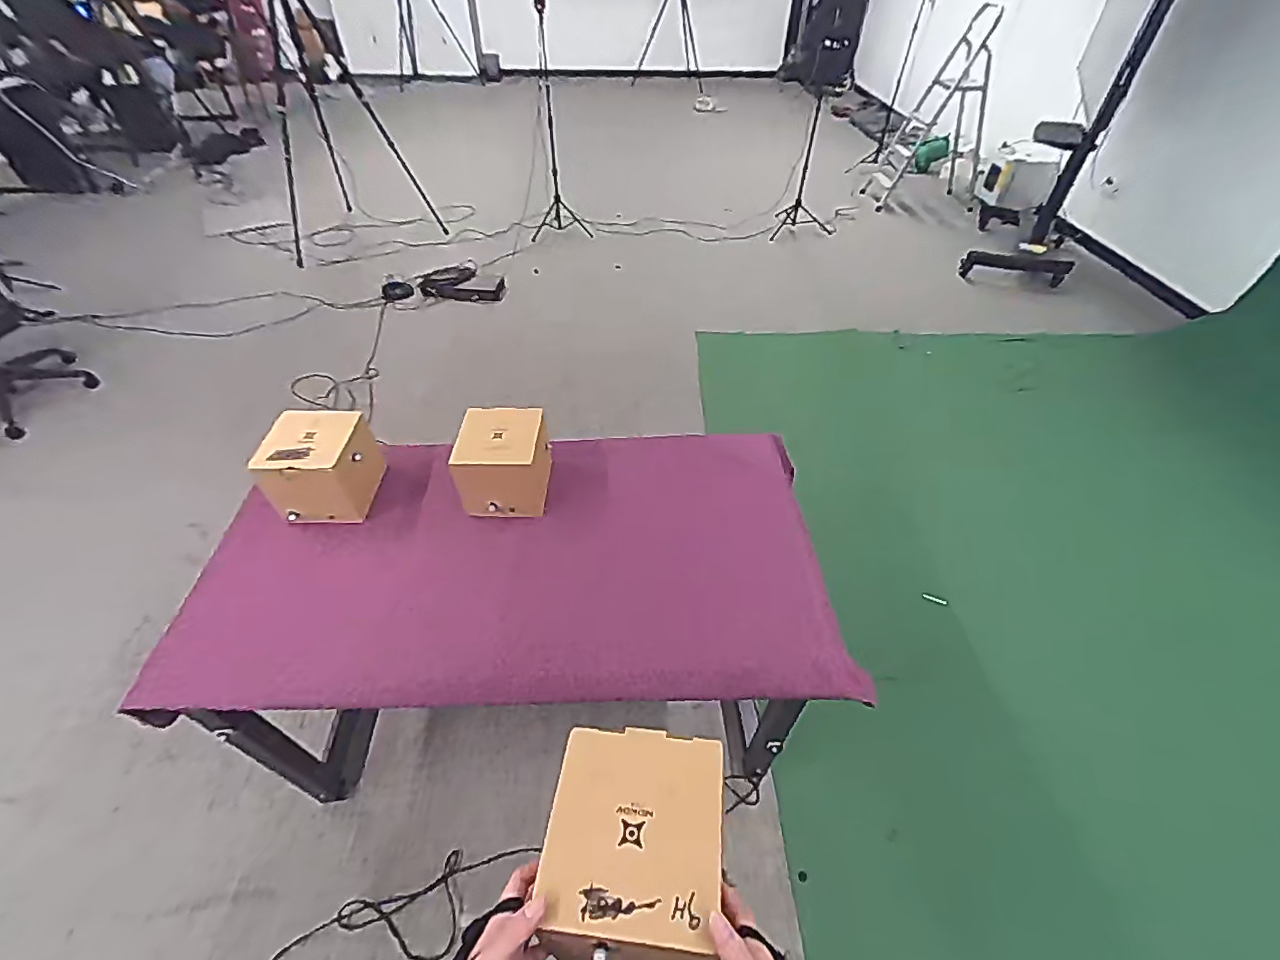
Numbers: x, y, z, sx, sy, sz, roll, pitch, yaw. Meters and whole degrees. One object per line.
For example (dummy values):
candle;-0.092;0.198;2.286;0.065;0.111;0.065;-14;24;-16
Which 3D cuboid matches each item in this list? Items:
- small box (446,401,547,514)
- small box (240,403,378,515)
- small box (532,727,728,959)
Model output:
small box;-0.294;-0.048;1.153;0.168;0.176;0.179;1;48;-1
small box;-0.671;-0.041;1.125;0.168;0.176;0.179;1;48;-3
small box;0.004;0.390;0.564;0.168;0.176;0.179;1;40;10
